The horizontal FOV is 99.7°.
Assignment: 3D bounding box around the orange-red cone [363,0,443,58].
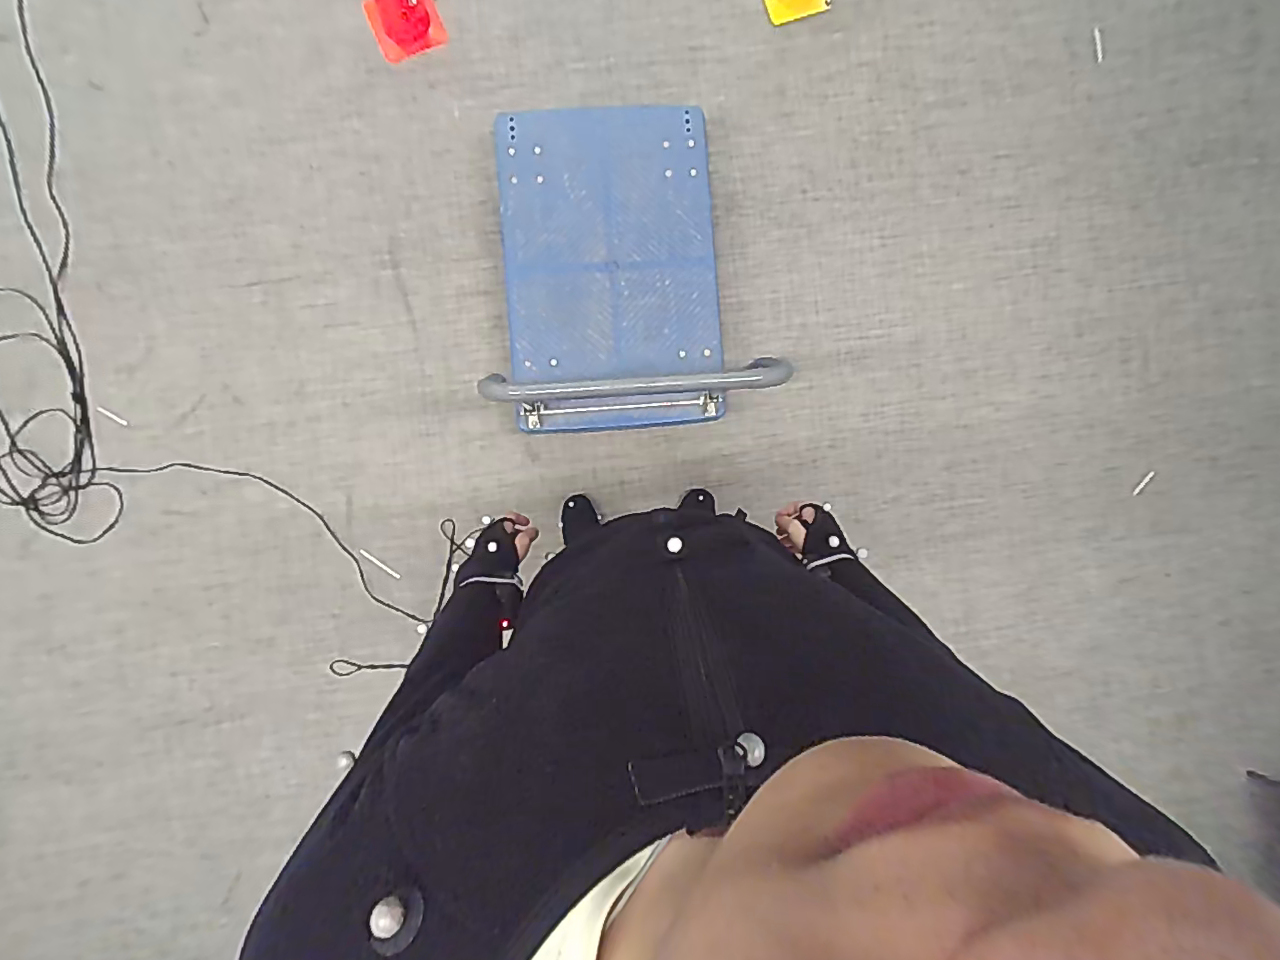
[{"bbox_3d":[-0.698,-1.370,1.435,0.199,0.360,0.198,-23,90,-1],"label":"orange-red cone"}]
